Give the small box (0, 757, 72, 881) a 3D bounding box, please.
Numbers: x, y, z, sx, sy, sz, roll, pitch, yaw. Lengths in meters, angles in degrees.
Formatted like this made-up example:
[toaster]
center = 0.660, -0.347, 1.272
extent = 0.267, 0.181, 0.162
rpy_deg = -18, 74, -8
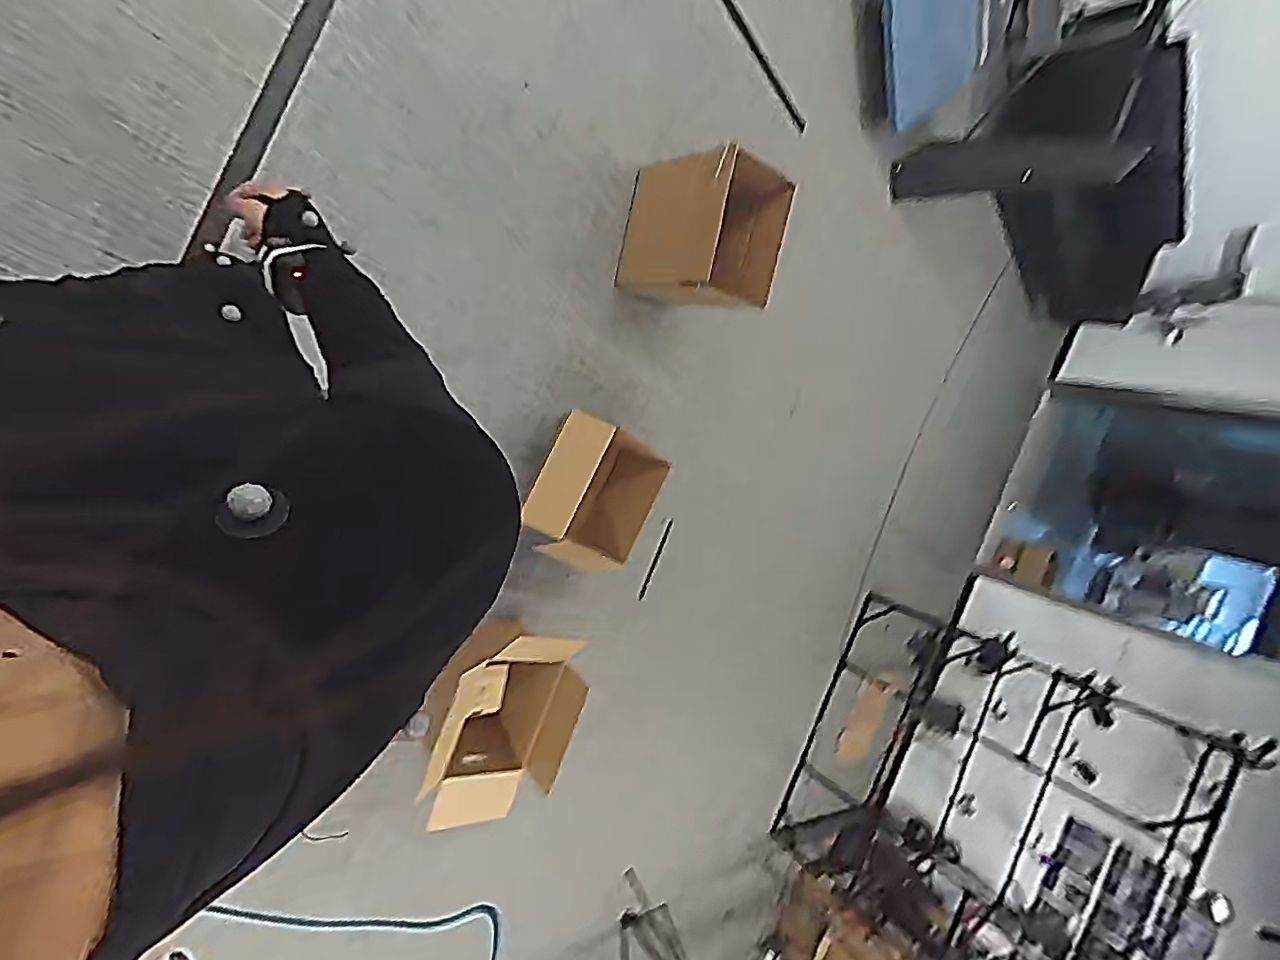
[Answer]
[small box]
center = -1.338, 0.703, 1.132
extent = 0.168, 0.176, 0.179
rpy_deg = 25, 88, -42
